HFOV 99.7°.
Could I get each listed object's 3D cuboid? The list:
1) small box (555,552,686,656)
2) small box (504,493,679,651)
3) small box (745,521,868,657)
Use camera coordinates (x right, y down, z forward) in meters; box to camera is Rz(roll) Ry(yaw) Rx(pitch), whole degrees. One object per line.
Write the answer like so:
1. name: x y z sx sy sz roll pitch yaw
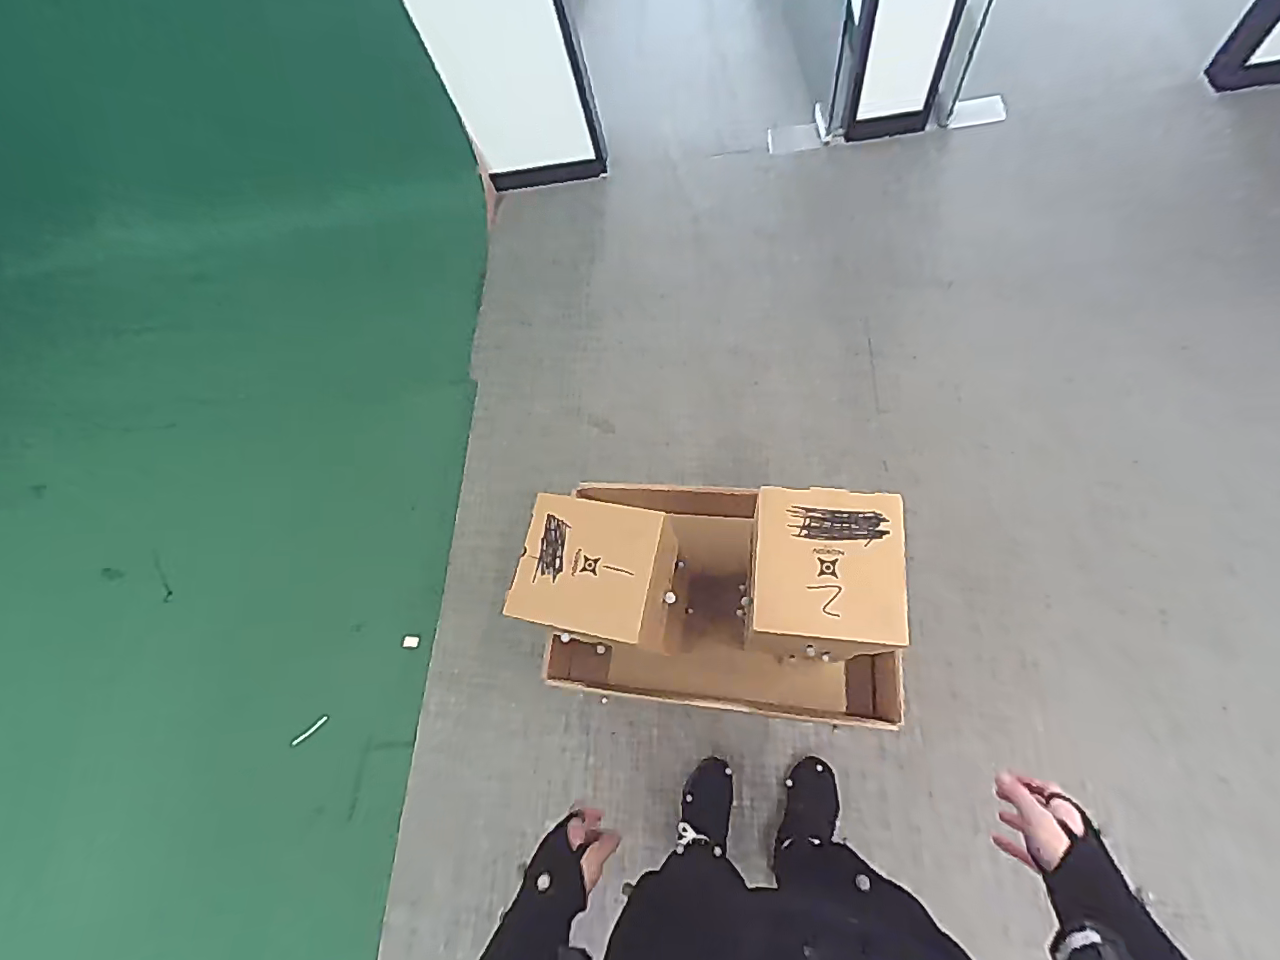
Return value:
1. small box: -0.021 0.188 0.895 0.168 0.176 0.179 6 70 13
2. small box: -0.054 0.133 0.743 0.179 0.176 0.168 10 71 13
3. small box: 0.254 0.176 0.844 0.168 0.176 0.179 4 70 11
